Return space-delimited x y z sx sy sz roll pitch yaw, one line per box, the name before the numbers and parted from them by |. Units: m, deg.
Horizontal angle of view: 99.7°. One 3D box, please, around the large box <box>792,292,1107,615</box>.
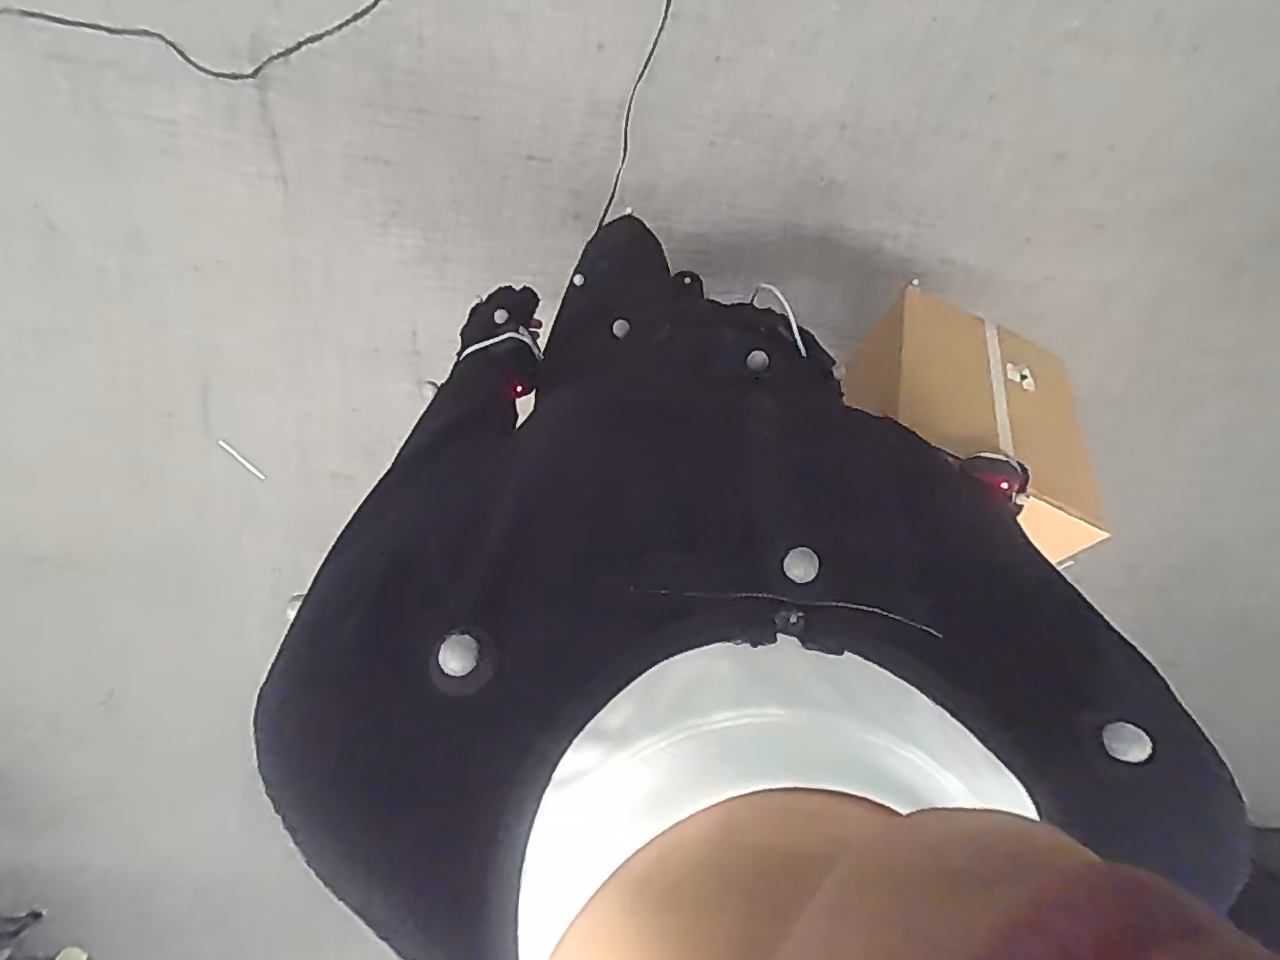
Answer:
large box | 0.496 -0.045 0.943 0.320 0.408 0.320 26 141 -1
